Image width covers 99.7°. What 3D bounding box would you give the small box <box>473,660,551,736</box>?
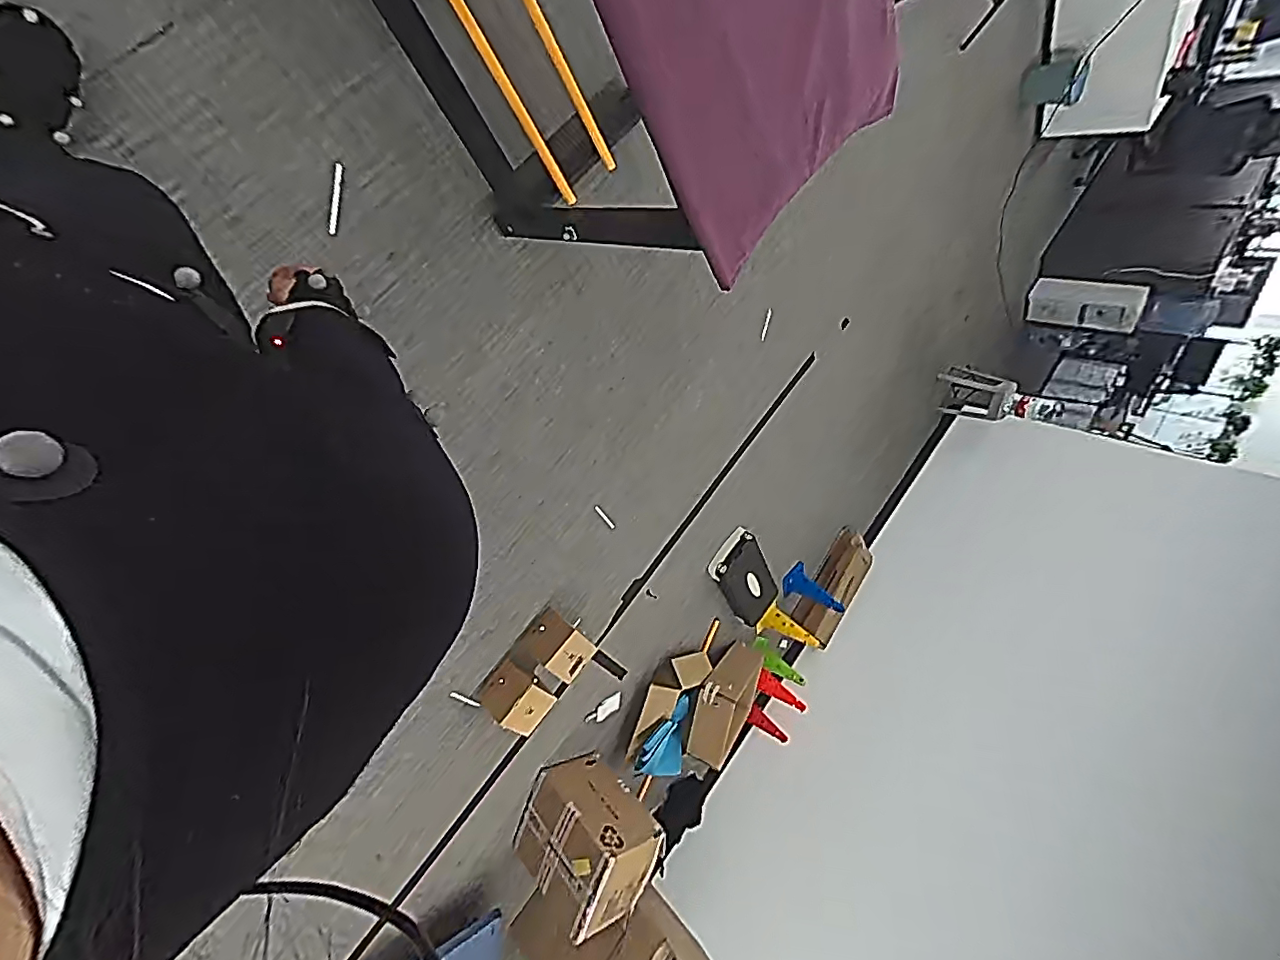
[{"bbox_3d":[-0.457,0.775,1.931,0.168,0.176,0.179,-50,137,-14],"label":"small box"}]

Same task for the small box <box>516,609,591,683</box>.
[{"bbox_3d":[-0.317,0.603,1.980,0.168,0.176,0.179,-49,137,-16],"label":"small box"}]
